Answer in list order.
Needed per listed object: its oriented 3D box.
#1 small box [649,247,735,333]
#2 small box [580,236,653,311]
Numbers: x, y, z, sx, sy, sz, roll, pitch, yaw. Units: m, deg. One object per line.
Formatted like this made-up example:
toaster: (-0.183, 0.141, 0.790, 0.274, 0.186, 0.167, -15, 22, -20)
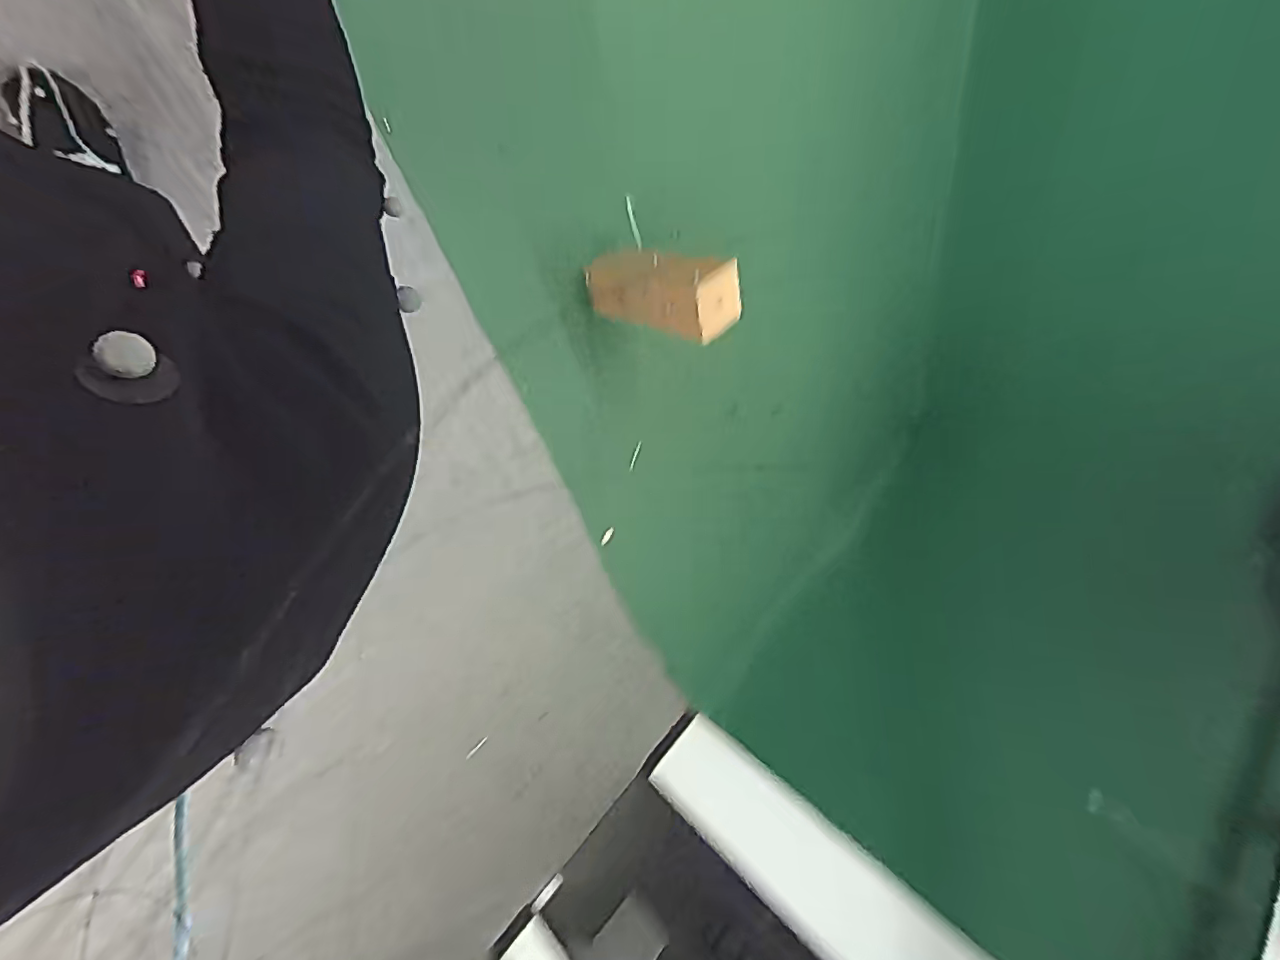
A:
small box: (0.152, -0.557, 1.570, 0.179, 0.176, 0.168, -42, 138, -24)
small box: (-0.077, -0.680, 1.771, 0.179, 0.176, 0.168, -41, 137, -22)
